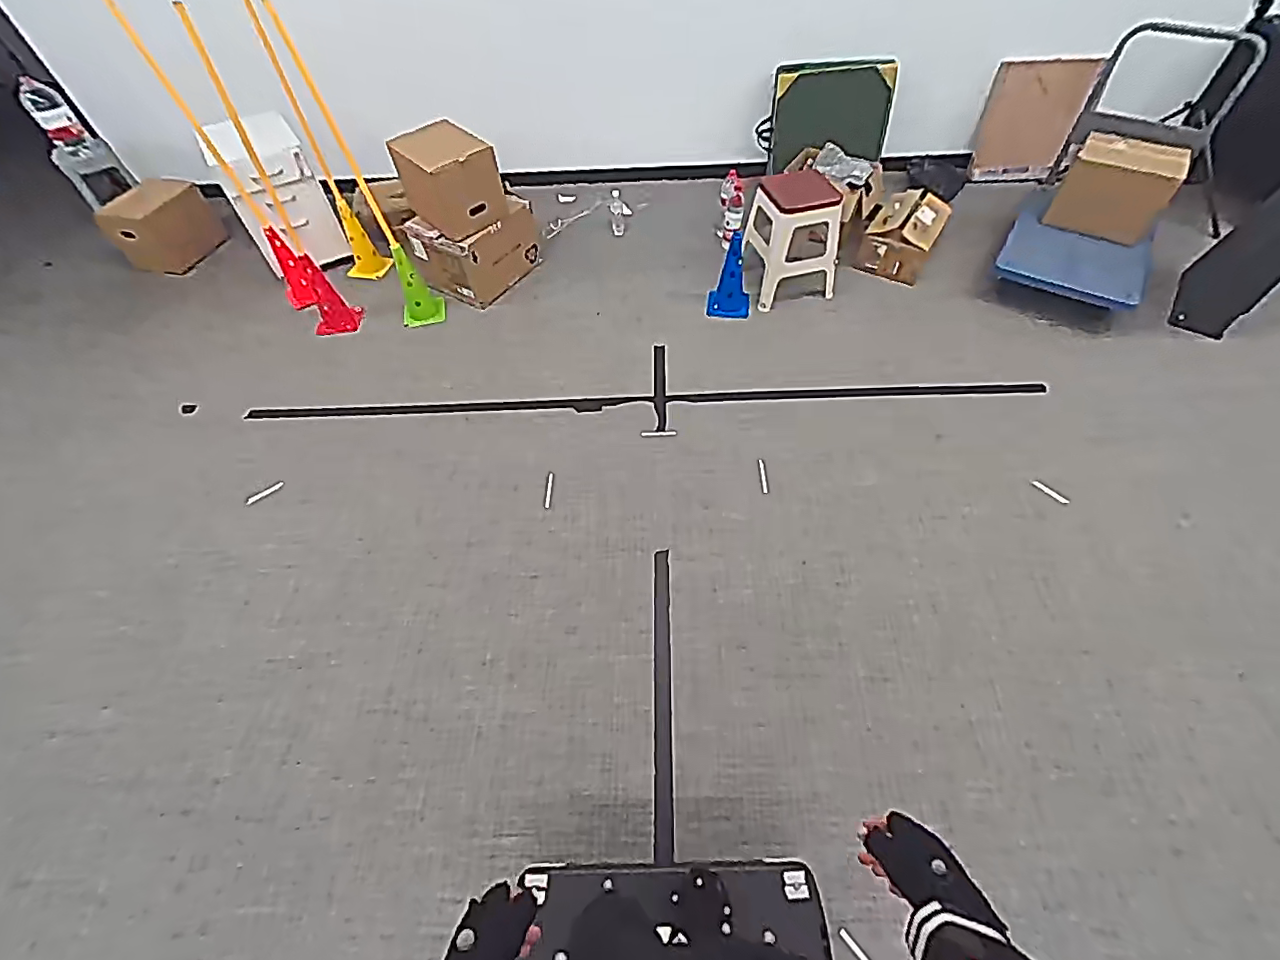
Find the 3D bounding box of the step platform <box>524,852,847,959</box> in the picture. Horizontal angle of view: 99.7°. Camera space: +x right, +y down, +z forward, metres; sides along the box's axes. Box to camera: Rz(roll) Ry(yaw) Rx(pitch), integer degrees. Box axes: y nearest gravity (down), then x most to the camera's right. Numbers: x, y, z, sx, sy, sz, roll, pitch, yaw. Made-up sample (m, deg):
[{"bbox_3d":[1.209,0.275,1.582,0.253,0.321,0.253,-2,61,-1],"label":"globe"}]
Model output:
[{"bbox_3d":[0.093,1.000,1.186,0.684,0.204,0.286,-2,54,0],"label":"step platform"}]
